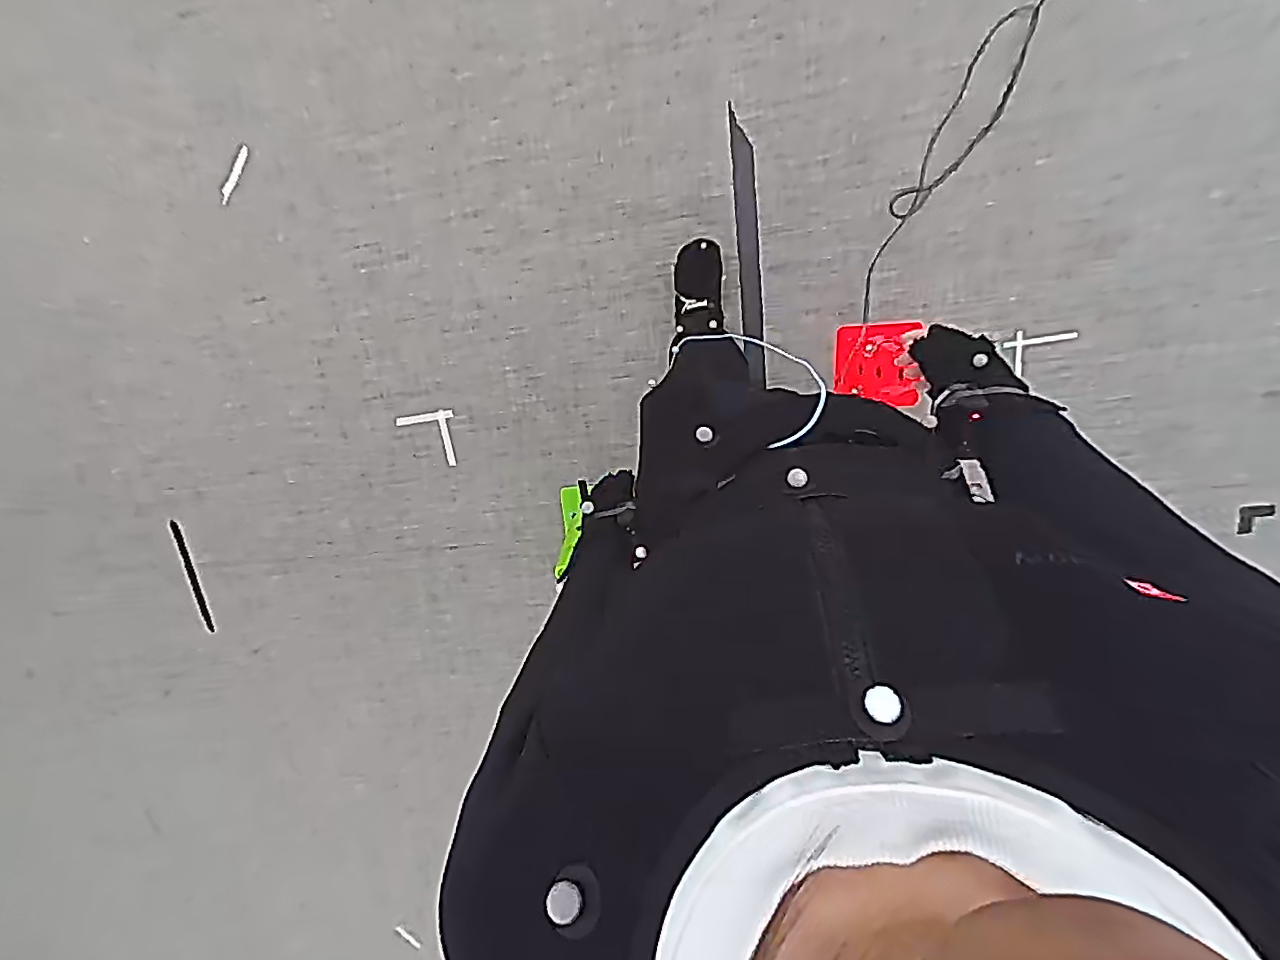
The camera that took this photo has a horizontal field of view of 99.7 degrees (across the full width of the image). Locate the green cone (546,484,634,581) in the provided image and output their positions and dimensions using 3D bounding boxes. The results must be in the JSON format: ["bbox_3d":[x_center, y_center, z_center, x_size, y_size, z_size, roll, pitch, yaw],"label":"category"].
[{"bbox_3d":[-0.150,0.152,1.331,0.202,0.368,0.200,-4,103,11],"label":"green cone"}]

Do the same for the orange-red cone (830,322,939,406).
[{"bbox_3d":[0.541,-0.230,1.133,0.199,0.360,0.198,0,106,7],"label":"orange-red cone"}]
